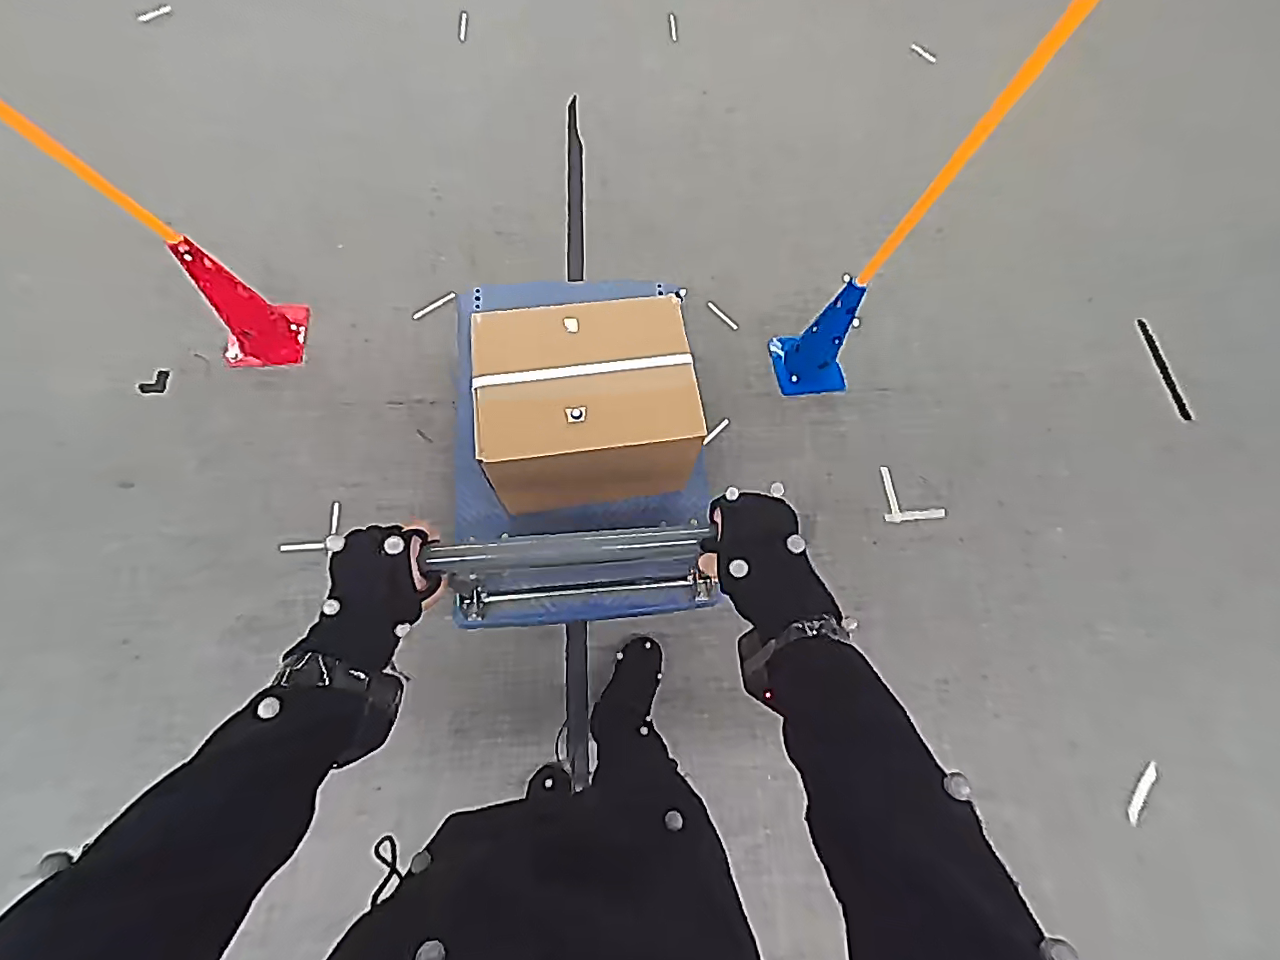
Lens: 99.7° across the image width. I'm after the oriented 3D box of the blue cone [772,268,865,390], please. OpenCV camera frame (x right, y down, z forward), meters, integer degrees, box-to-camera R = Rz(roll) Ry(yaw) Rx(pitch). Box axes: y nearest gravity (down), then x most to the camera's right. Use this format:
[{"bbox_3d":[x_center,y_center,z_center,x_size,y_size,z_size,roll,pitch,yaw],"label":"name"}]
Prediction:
[{"bbox_3d":[0.509,-0.413,1.453,0.193,0.380,0.192,-5,69,-7],"label":"blue cone"}]
